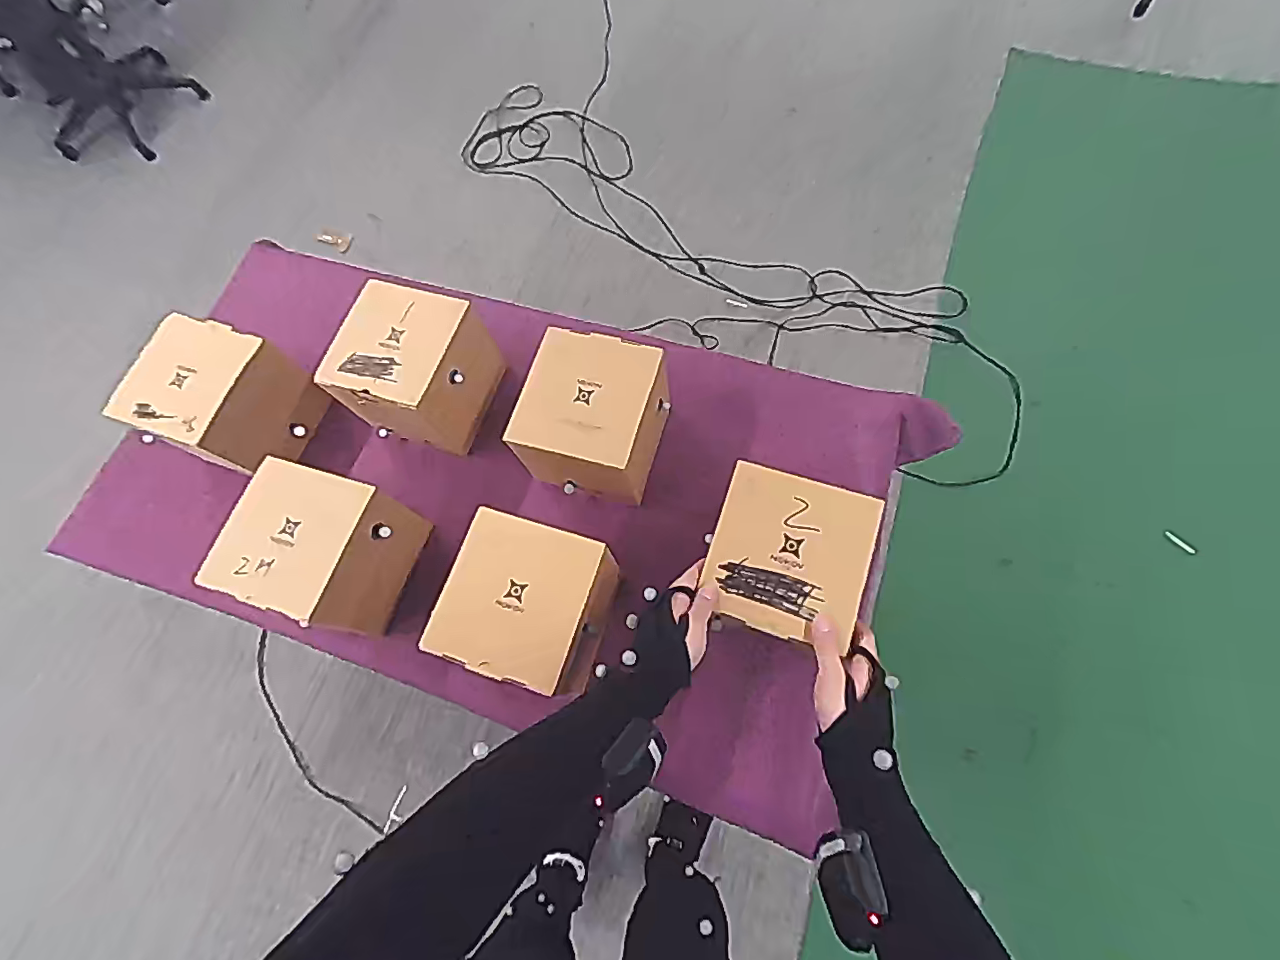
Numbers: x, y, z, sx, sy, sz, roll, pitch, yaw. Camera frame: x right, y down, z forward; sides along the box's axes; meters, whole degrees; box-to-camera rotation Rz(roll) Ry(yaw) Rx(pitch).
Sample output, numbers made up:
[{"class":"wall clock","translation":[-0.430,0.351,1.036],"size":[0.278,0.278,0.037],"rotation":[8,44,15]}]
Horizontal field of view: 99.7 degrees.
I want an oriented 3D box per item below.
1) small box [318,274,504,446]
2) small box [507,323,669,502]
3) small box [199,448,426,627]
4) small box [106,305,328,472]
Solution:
[{"class":"small box","translation":[-0.328,-0.171,0.817],"size":[0.168,0.176,0.179],"rotation":[16,72,10]},{"class":"small box","translation":[-0.060,-0.088,0.766],"size":[0.168,0.176,0.179],"rotation":[15,74,11]},{"class":"small box","translation":[-0.420,0.085,0.732],"size":[0.168,0.176,0.179],"rotation":[16,72,11]},{"class":"small box","translation":[-0.620,-0.128,0.824],"size":[0.168,0.176,0.179],"rotation":[17,73,12]}]
